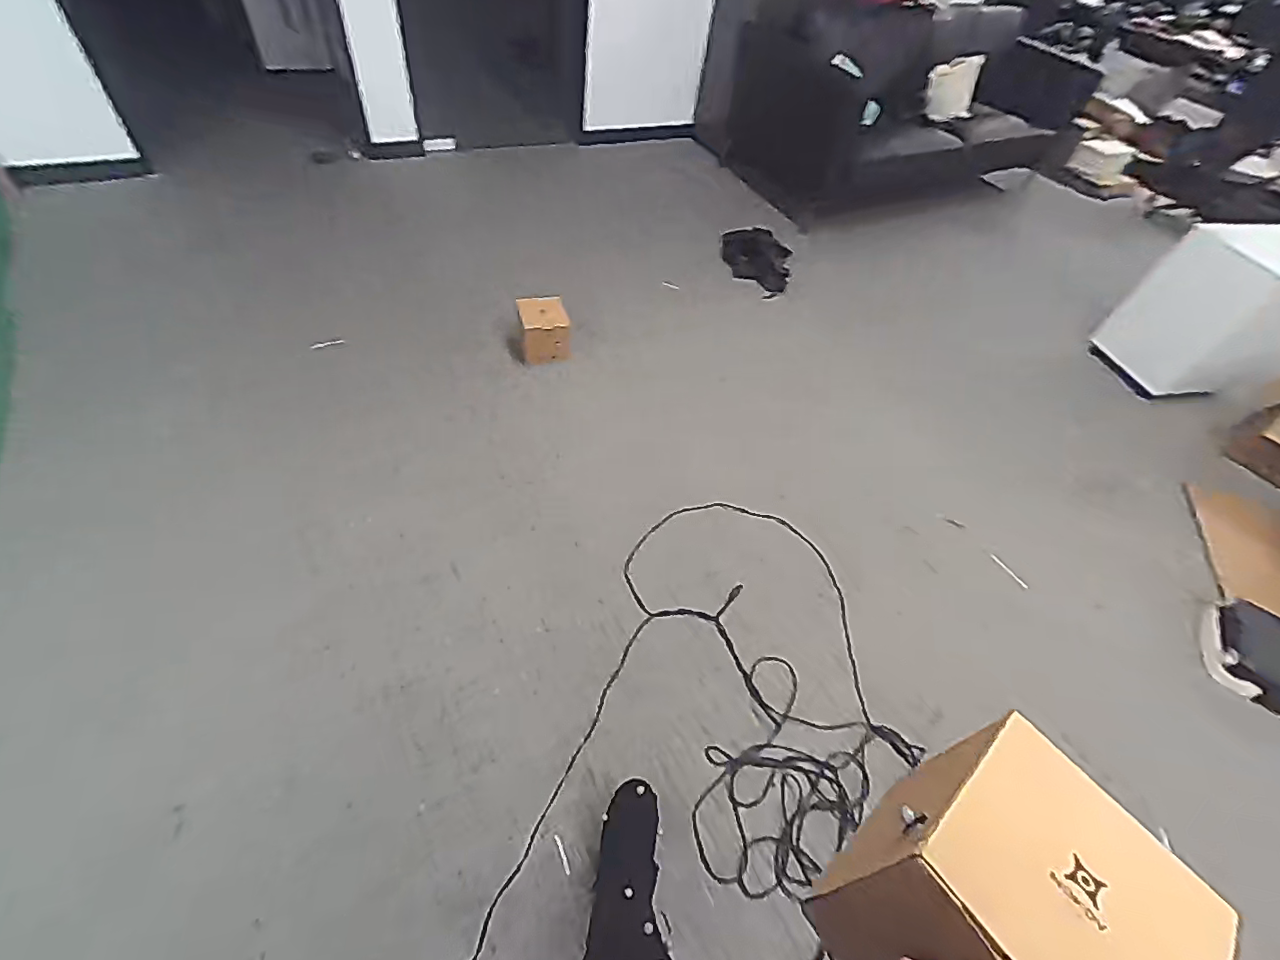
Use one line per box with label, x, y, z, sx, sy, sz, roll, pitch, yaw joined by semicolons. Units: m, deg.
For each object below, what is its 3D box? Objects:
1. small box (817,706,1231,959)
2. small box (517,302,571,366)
small box;0.267;0.314;0.405;0.179;0.176;0.168;-21;55;-37
small box;-0.358;-0.537;2.011;0.168;0.176;0.179;-10;53;-19
